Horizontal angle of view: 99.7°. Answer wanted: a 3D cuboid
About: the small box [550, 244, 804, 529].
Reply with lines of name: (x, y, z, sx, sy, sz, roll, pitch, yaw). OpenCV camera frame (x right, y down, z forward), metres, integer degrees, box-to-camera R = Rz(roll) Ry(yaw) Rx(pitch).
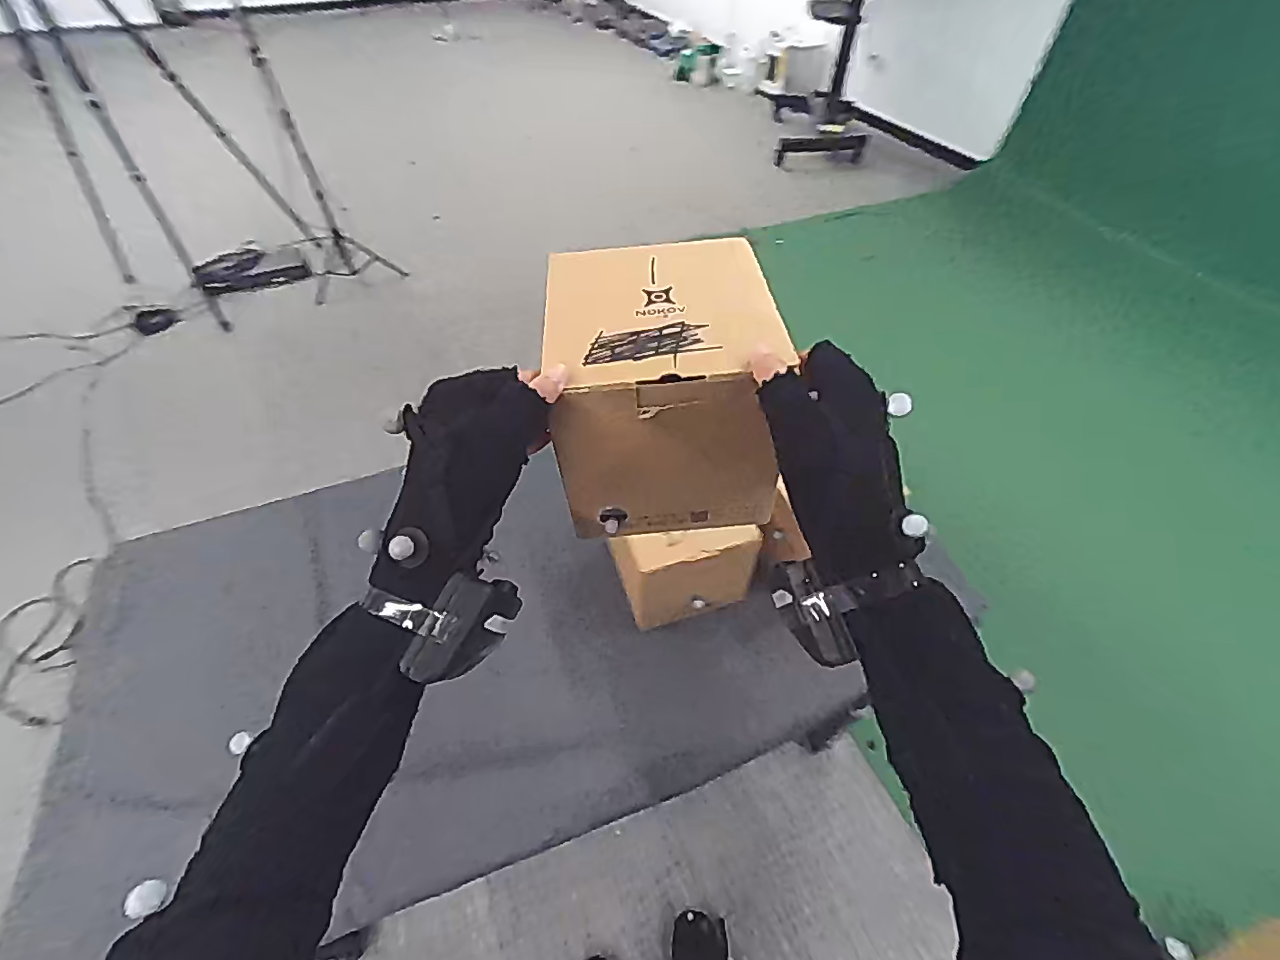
small box: (0.025, -0.070, 0.453, 0.168, 0.176, 0.179, -4, 49, 0)

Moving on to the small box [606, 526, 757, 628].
small box: (0.047, 0.086, 0.789, 0.168, 0.176, 0.179, -14, 52, -12)
